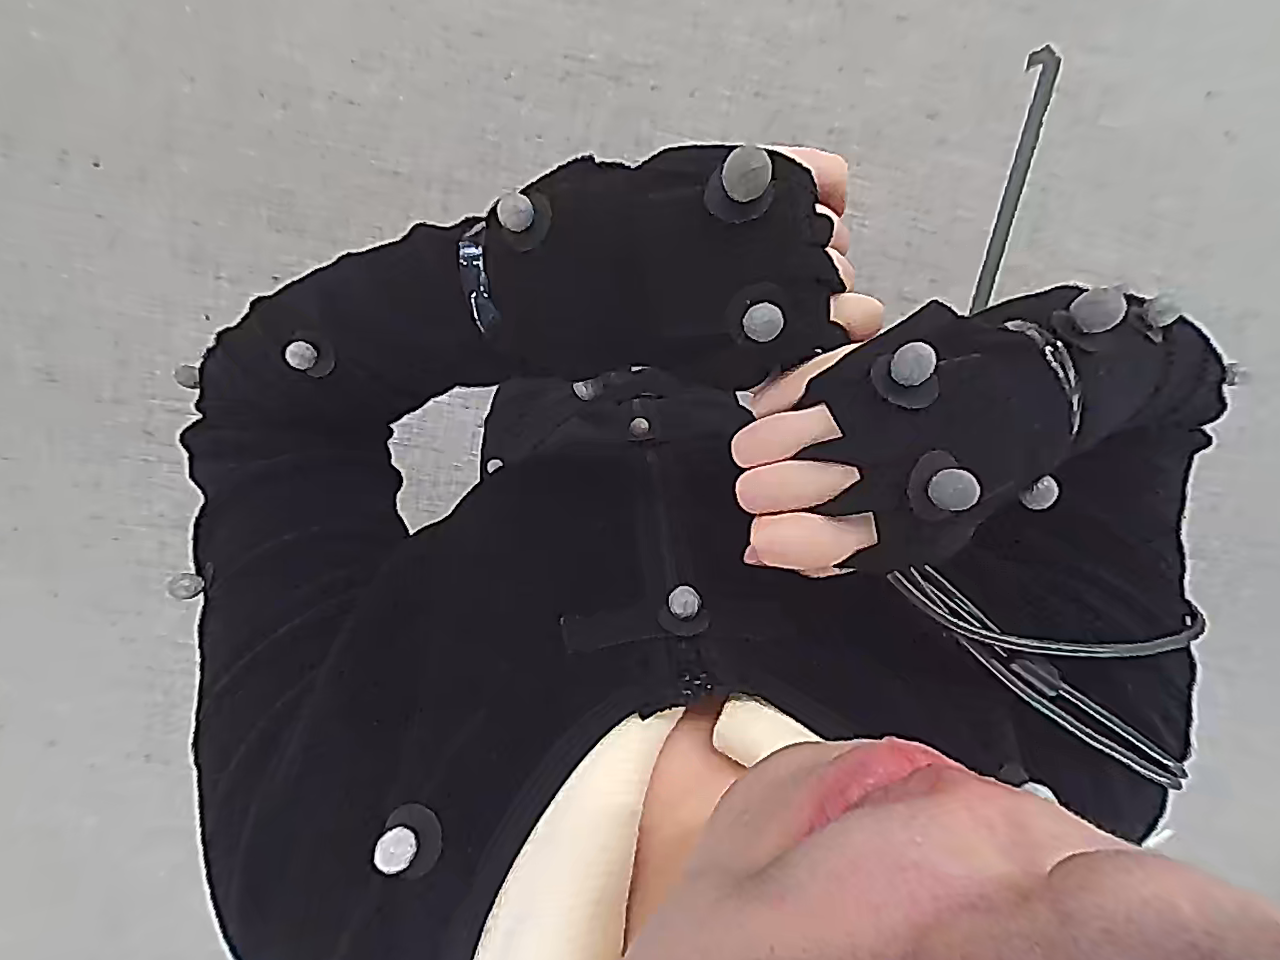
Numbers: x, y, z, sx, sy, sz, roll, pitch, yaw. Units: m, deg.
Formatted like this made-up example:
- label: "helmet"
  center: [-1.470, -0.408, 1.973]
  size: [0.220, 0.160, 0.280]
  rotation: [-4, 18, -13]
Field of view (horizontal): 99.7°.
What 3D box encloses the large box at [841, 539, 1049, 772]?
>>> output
- label: "large box"
  center: [0.734, 0.409, 1.335]
  size: [0.320, 0.320, 0.408]
  rotation: [-14, 103, -3]
